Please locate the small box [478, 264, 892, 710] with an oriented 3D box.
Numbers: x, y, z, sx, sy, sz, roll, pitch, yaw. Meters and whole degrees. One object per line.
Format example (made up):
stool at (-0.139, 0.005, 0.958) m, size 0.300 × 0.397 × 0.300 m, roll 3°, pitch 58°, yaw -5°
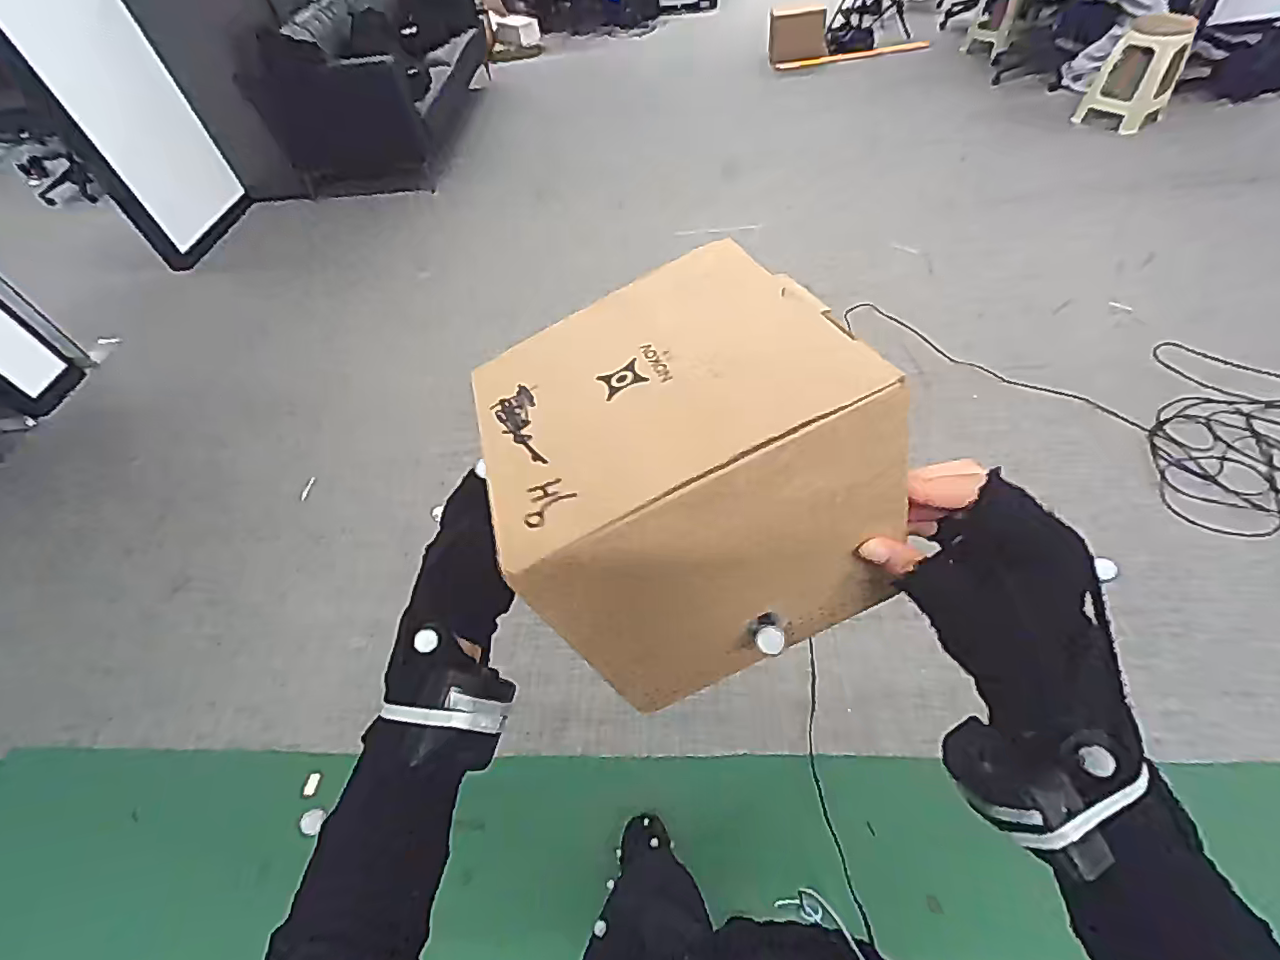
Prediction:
small box at (0.026, 0.007, 0.330) m, size 0.179 × 0.176 × 0.168 m, roll -26°, pitch 43°, yaw 1°
